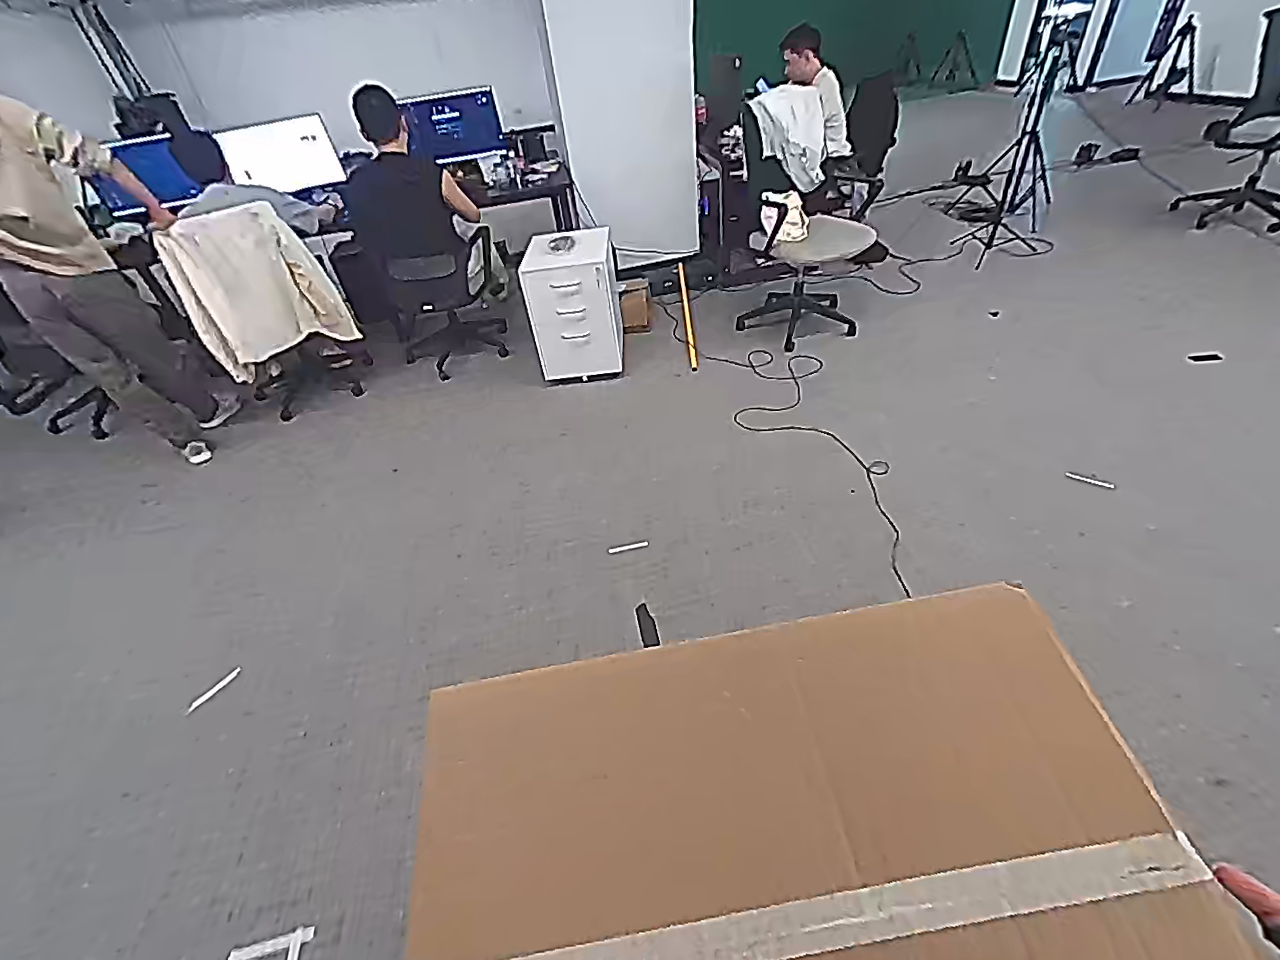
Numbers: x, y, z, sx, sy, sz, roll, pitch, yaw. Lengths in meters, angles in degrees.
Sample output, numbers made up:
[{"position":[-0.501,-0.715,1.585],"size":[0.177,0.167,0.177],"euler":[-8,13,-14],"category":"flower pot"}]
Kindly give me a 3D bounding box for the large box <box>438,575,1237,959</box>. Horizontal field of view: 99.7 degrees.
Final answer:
[{"position":[0.099,0.313,0.410],"size":[0.408,0.320,0.320],"euler":[-11,55,0],"category":"large box"}]
